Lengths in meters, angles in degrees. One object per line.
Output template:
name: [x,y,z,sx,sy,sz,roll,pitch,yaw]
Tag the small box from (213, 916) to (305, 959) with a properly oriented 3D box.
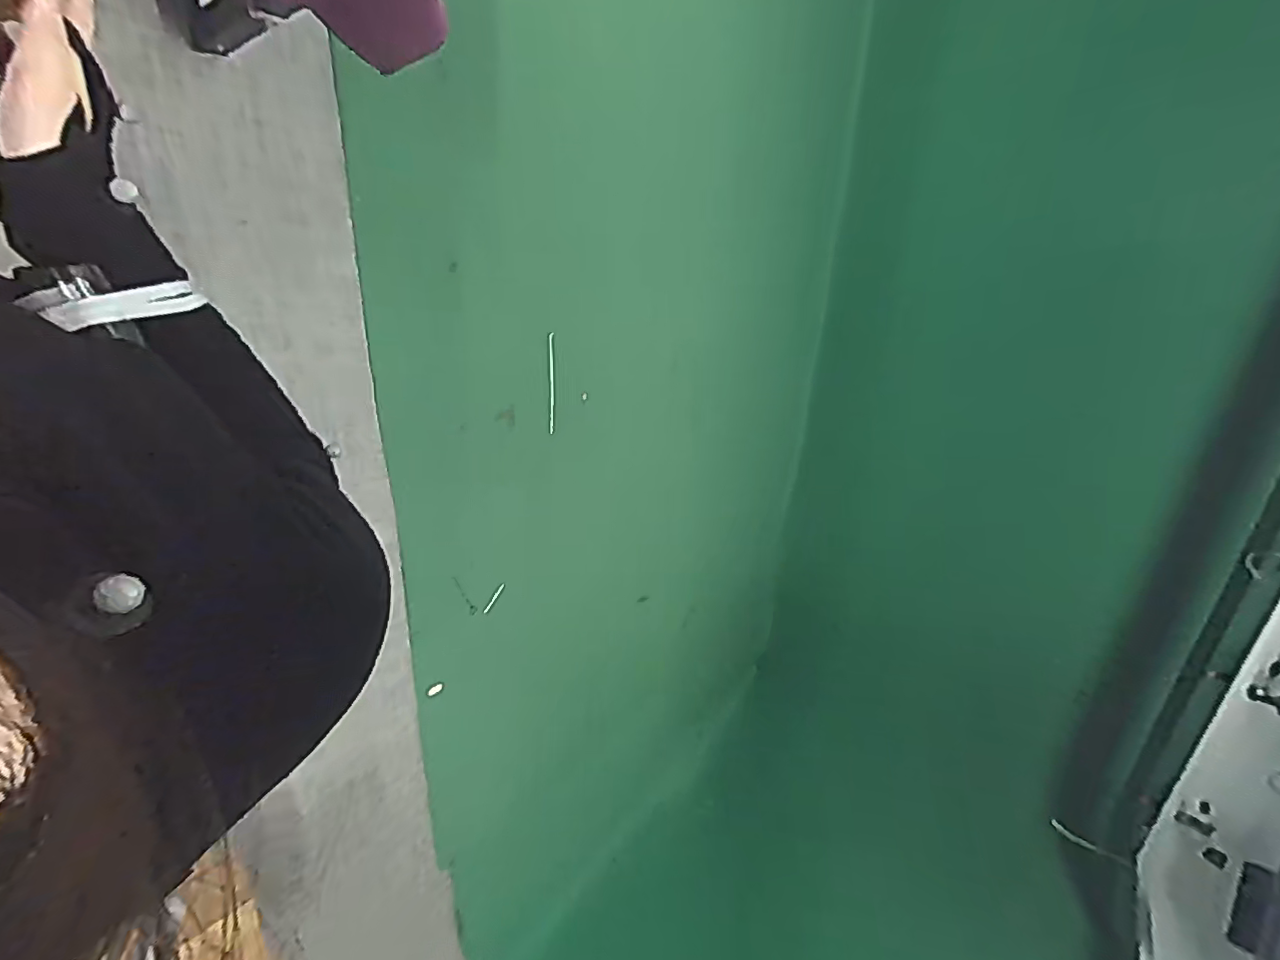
small box: [-0.909,1.215,1.298,0.168,0.176,0.179,-21,124,-48]
